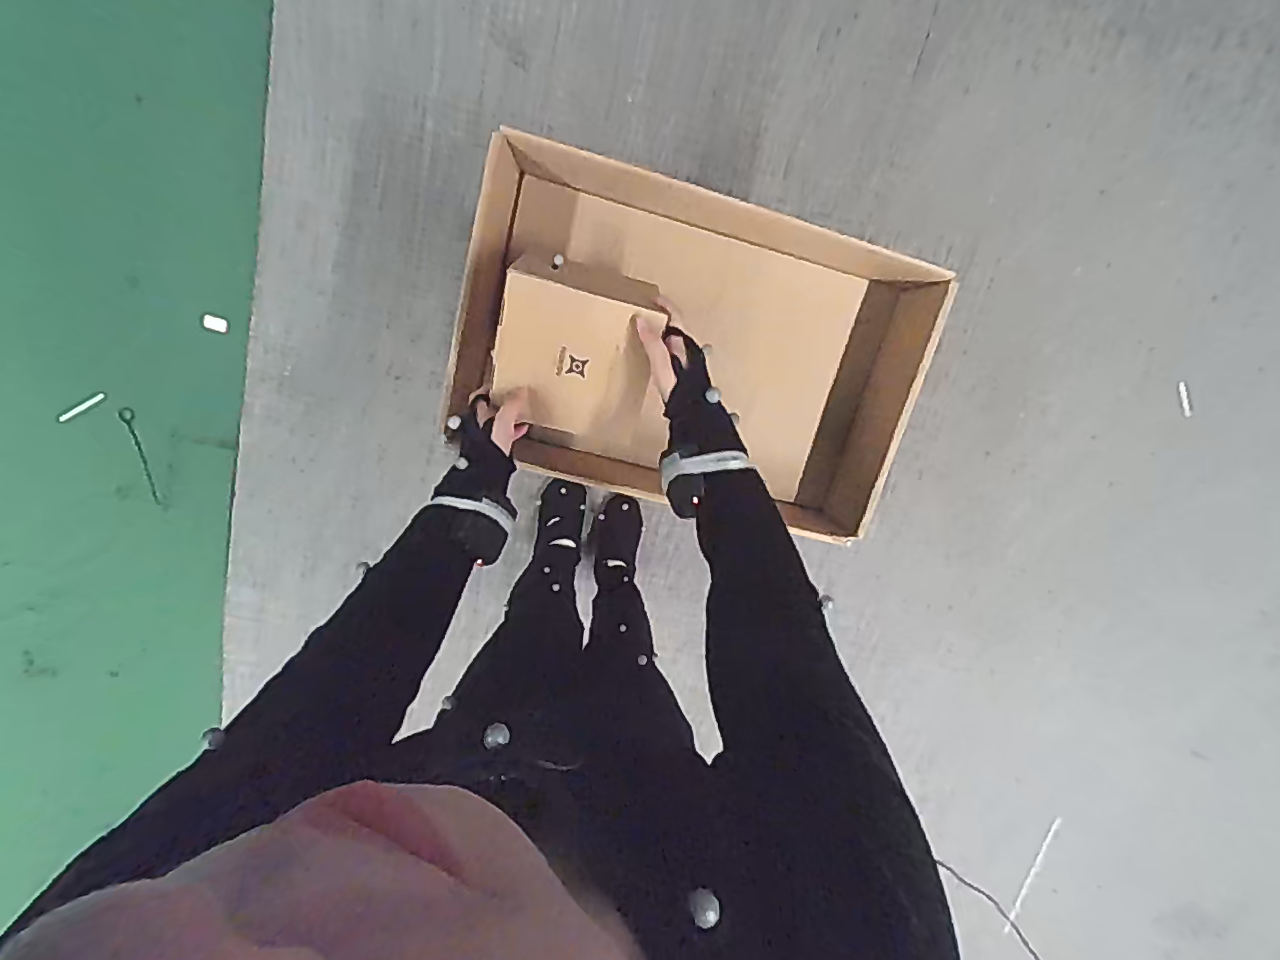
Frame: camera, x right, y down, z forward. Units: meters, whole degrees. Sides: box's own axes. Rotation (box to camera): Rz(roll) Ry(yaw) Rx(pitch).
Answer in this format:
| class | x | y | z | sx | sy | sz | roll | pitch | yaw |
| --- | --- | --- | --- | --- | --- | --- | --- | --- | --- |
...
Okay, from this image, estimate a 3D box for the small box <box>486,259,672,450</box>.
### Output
| class | x | y | z | sx | sy | sz | roll | pitch | yaw |
| --- | --- | --- | --- | --- | --- | --- | --- | --- | --- |
| small box | -0.073 | -0.162 | 0.668 | 0.179 | 0.176 | 0.168 | 14 | 119 | -10 |
